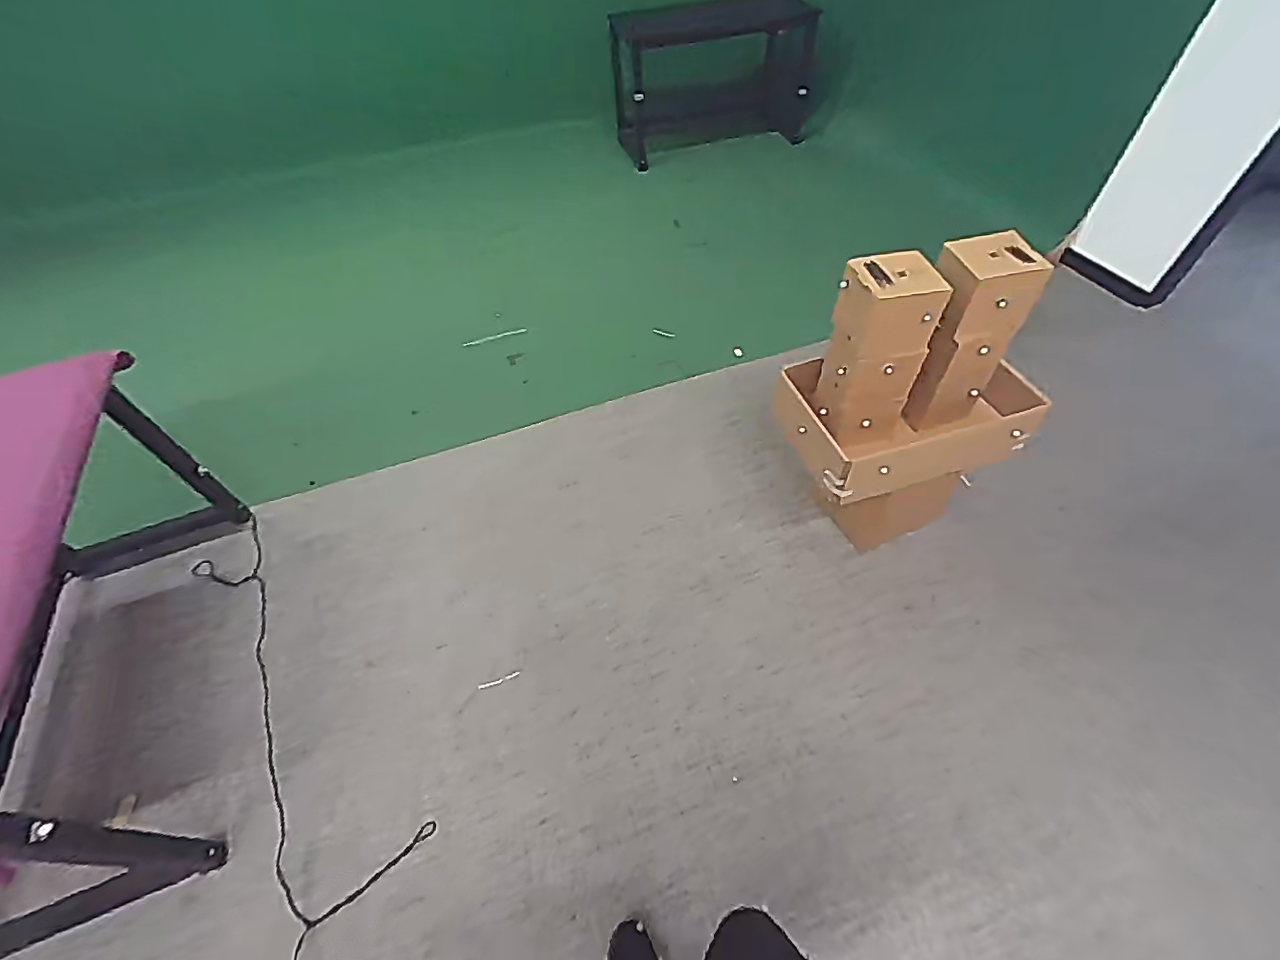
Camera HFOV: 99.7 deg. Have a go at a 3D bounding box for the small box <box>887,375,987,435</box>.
[{"bbox_3d":[0.853,-0.260,1.577,0.179,0.176,0.168,-17,52,-8],"label":"small box"}]

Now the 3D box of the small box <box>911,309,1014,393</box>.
[{"bbox_3d":[0.838,-0.361,1.451,0.179,0.176,0.168,-18,53,-8],"label":"small box"}]

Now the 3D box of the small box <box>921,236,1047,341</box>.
[{"bbox_3d":[0.829,-0.466,1.325,0.179,0.176,0.168,-11,52,-2],"label":"small box"}]

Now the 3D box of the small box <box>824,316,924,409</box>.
[{"bbox_3d":[0.599,-0.304,1.418,0.179,0.176,0.168,-7,52,-3],"label":"small box"}]
